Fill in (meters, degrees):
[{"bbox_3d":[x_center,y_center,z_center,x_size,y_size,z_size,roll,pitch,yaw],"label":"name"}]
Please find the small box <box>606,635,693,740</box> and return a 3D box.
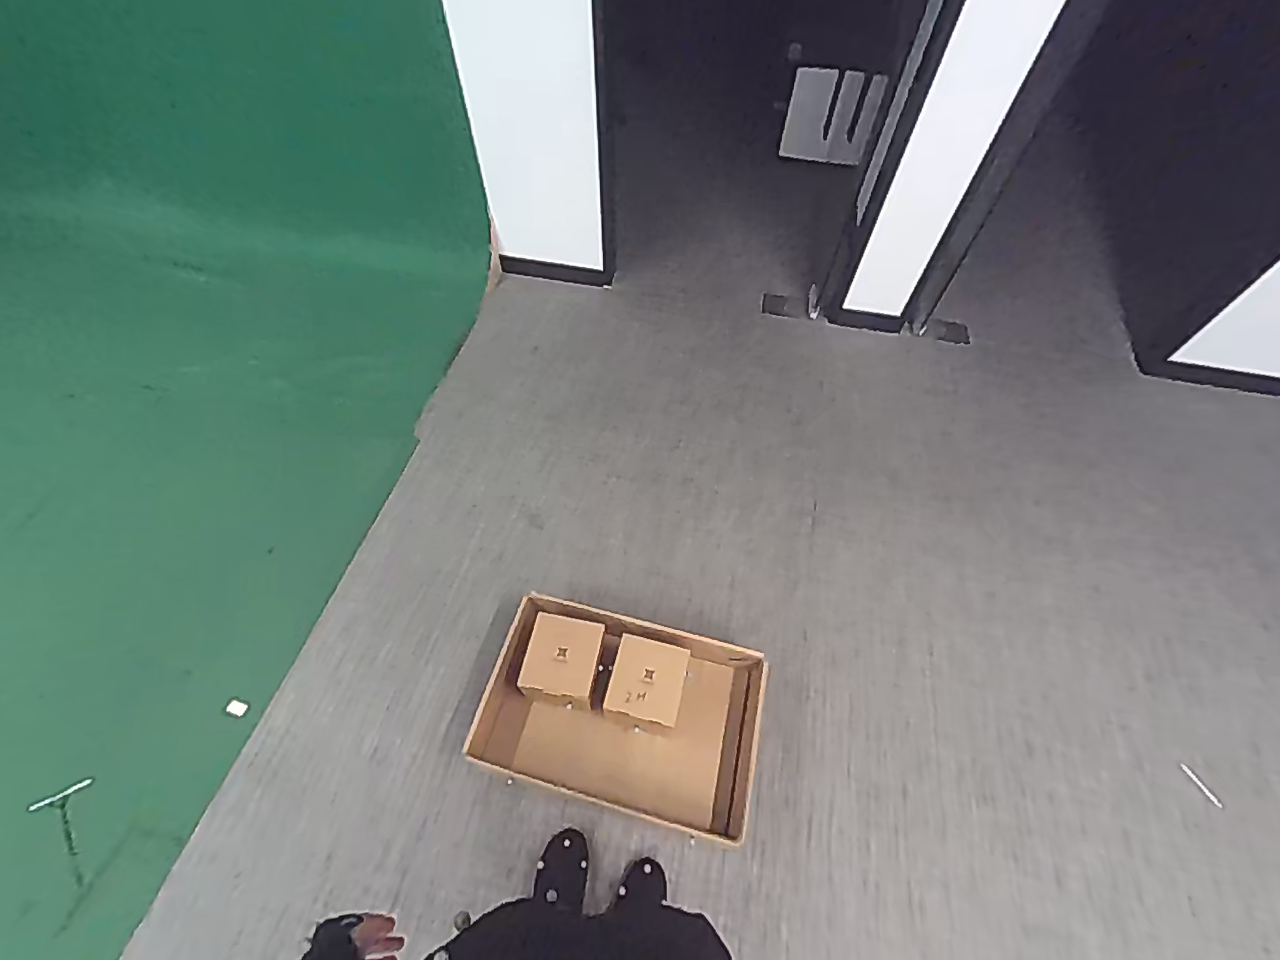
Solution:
[{"bbox_3d":[0.023,0.495,1.283,0.168,0.176,0.179,12,58,9],"label":"small box"}]
